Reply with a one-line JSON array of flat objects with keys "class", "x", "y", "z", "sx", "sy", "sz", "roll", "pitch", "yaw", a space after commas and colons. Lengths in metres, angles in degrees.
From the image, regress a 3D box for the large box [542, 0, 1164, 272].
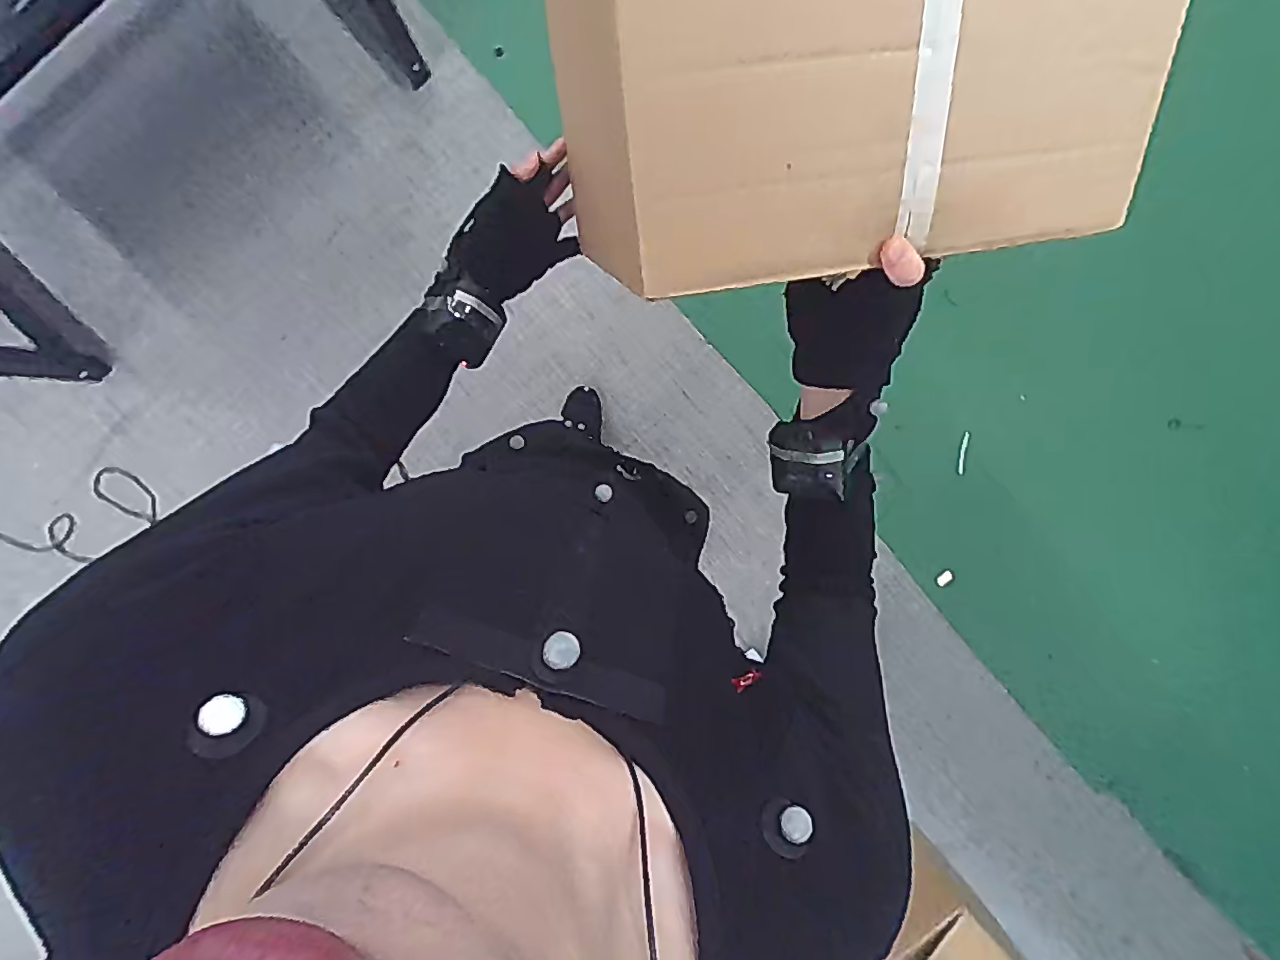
[{"class": "large box", "x": 0.090, "y": -0.379, "z": 0.356, "sx": 0.320, "sy": 0.320, "sz": 0.408, "roll": -11, "pitch": 117, "yaw": -8}]
